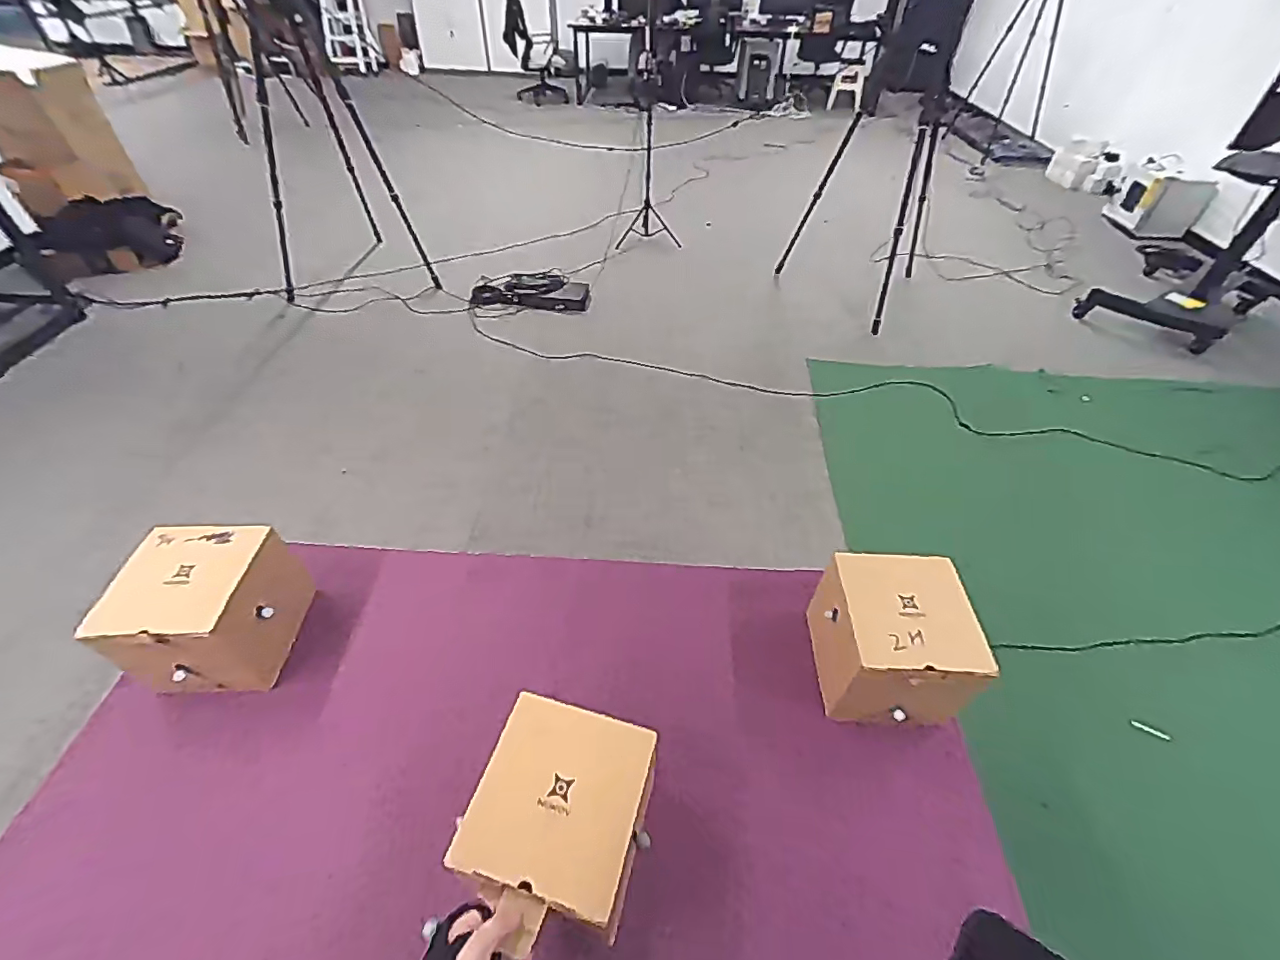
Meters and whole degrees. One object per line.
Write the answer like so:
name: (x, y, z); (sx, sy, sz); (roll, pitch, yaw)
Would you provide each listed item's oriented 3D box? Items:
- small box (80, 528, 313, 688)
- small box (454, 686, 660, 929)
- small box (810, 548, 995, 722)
small box: (-0.611, 0.188, 0.779); (0.168, 0.176, 0.179); (0, 47, -3)
small box: (-0.081, 0.370, 0.614); (0.168, 0.176, 0.179); (12, 47, 10)
small box: (0.349, 0.218, 0.765); (0.168, 0.176, 0.179); (2, 46, 2)
